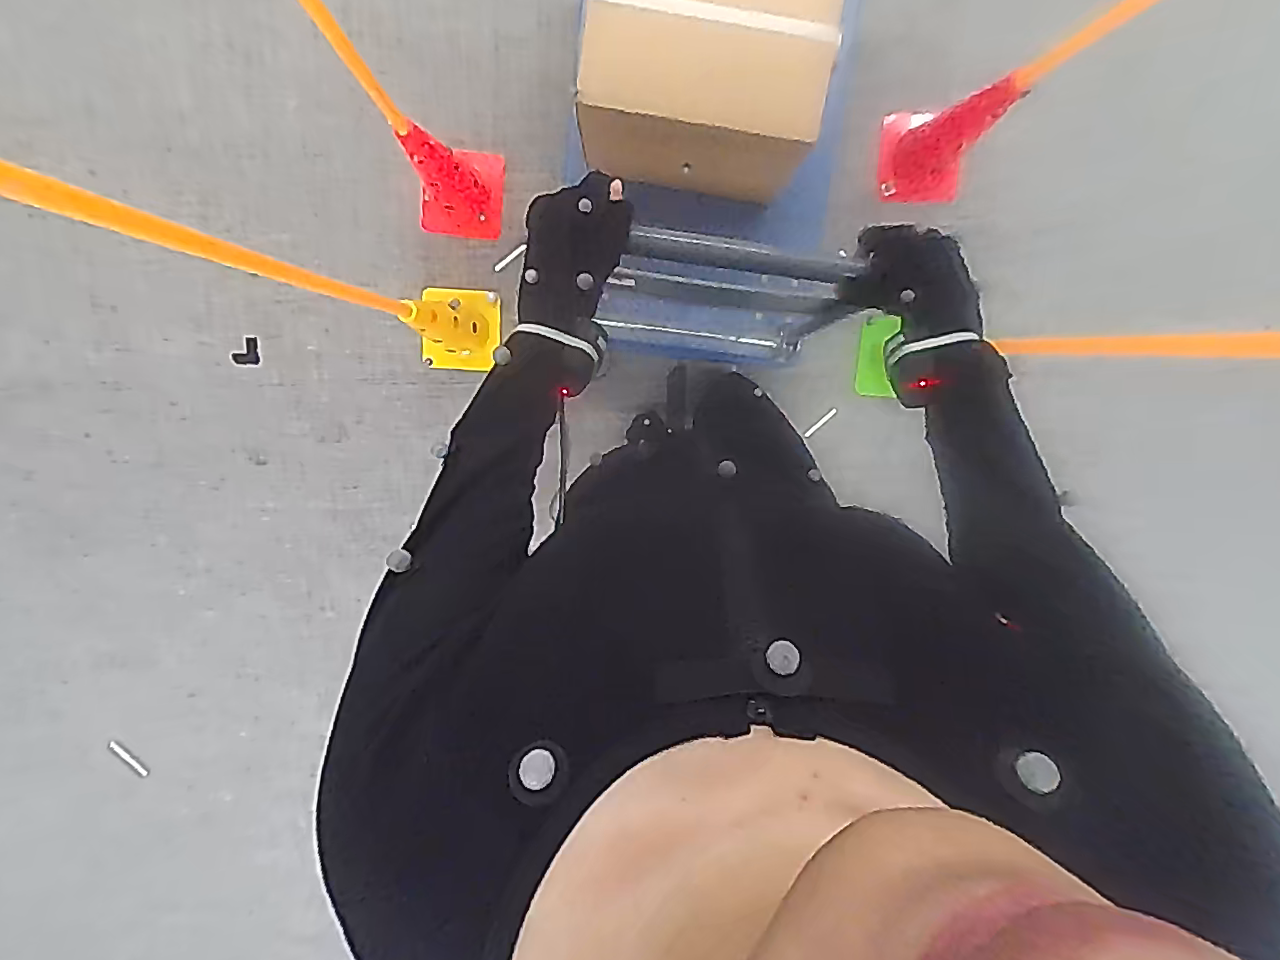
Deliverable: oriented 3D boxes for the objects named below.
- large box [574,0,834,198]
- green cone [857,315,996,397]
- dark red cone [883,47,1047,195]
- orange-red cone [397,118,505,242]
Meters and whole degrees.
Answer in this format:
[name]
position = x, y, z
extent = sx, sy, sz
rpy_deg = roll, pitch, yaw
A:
[large box]
position = 0.108, -0.761, 1.013
extent = 0.408, 0.320, 0.320
rpy_deg = 8, 100, -2
[green cone]
position = 0.674, -0.294, 1.239
extent = 0.202, 0.368, 0.200
rpy_deg = 3, 99, -2
[dark red cone]
position = 0.693, -0.769, 1.143
extent = 0.201, 0.394, 0.202
rpy_deg = -1, 100, -2
[orange-red cone]
position = -0.438, -0.682, 1.176
extent = 0.198, 0.360, 0.199
rpy_deg = 7, 98, -2
